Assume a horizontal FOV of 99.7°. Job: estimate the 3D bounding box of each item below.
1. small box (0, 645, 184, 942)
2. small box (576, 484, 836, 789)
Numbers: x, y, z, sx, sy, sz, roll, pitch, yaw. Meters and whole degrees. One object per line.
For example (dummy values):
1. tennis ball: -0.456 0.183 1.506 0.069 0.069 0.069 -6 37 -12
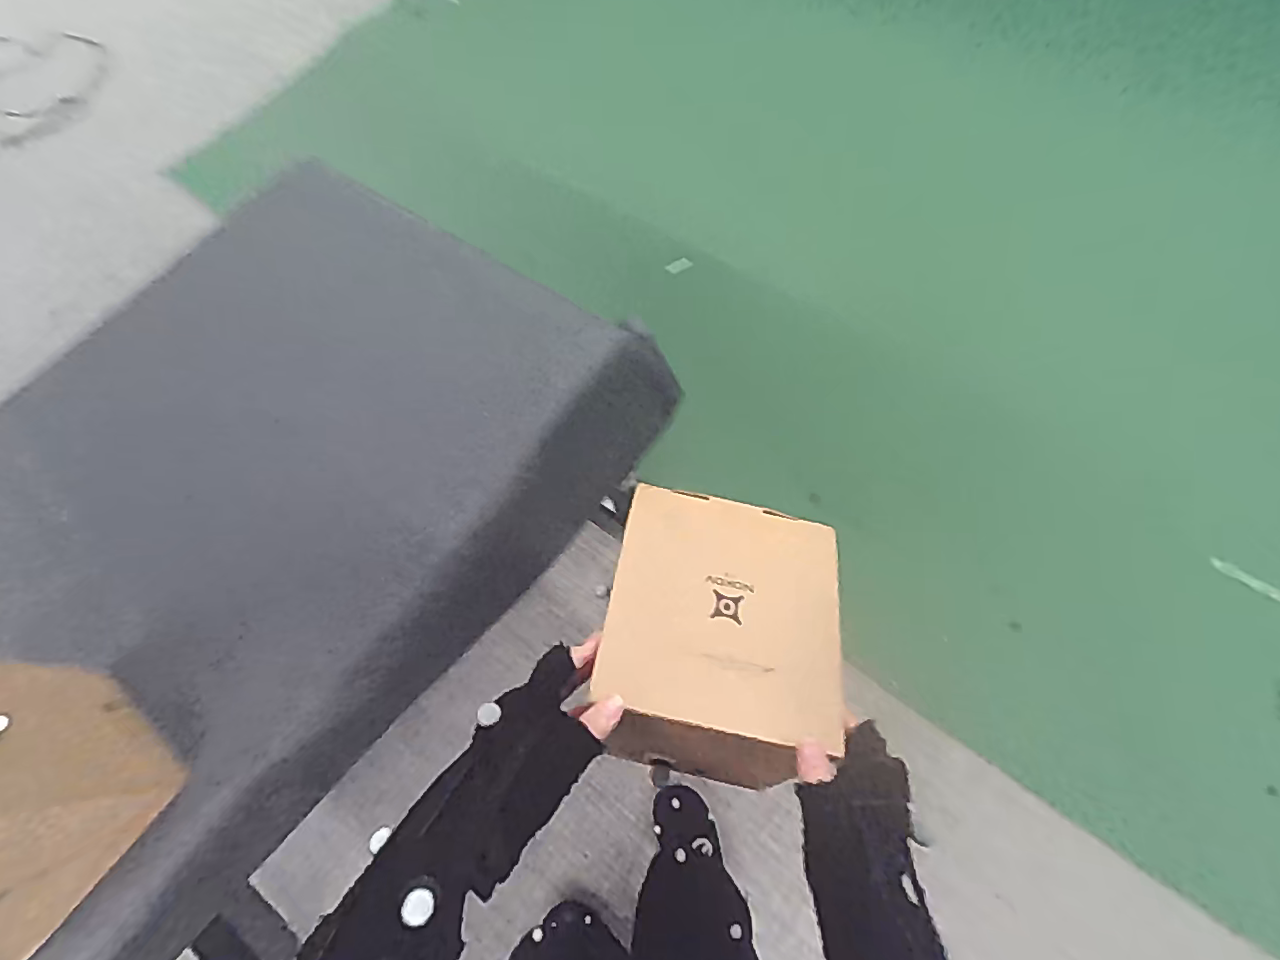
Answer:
1. small box: -0.538 0.254 0.432 0.168 0.176 0.179 35 74 18
2. small box: 0.045 0.134 0.444 0.168 0.176 0.179 12 55 0
